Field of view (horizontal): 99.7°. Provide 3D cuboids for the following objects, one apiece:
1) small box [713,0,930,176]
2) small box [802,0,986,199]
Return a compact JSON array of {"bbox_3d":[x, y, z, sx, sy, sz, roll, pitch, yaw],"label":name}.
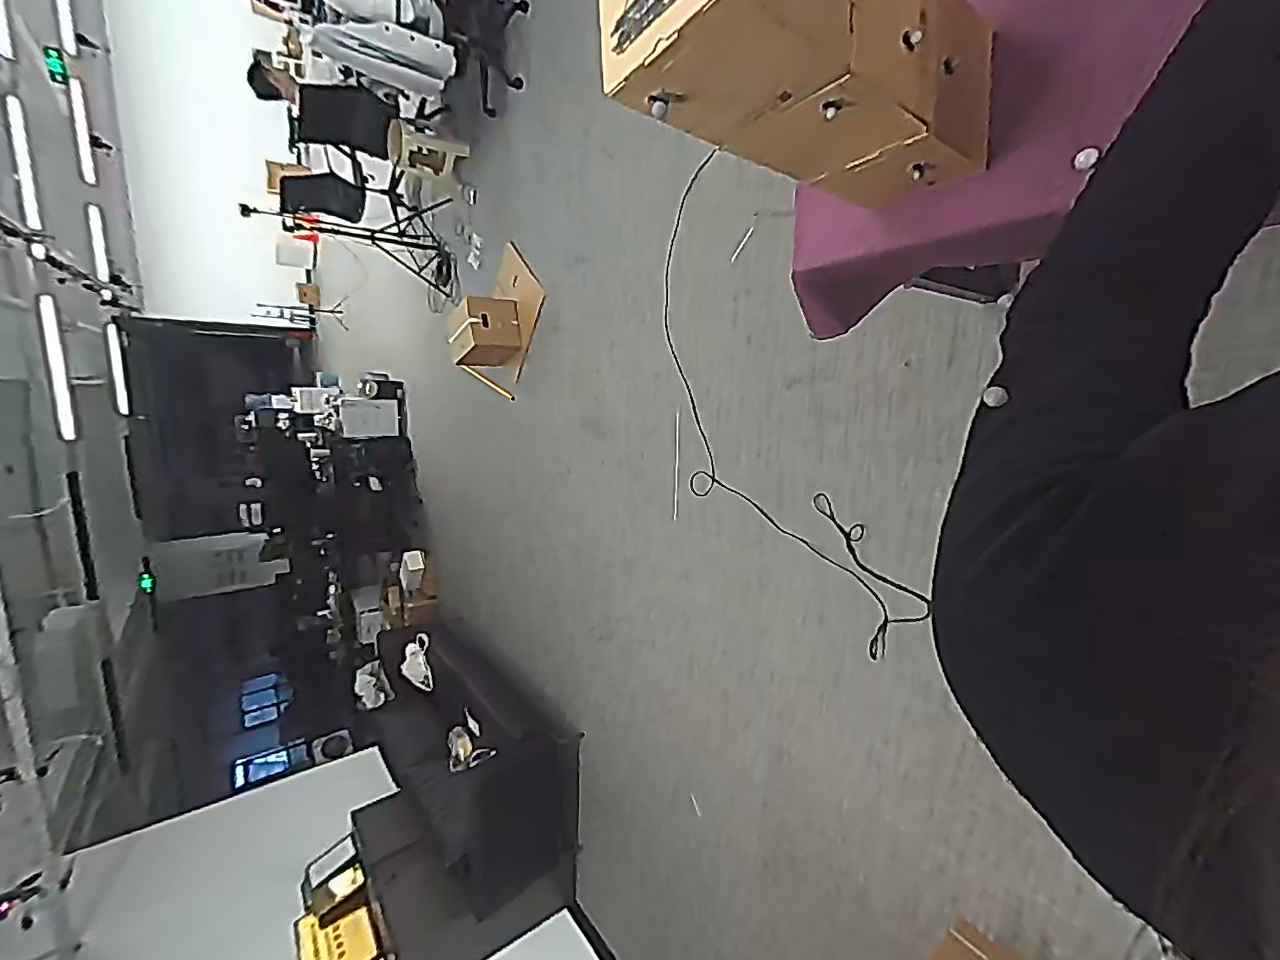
[{"bbox_3d":[0.204,-0.478,0.618,0.179,0.176,0.168,4,99,50],"label":"small box"},{"bbox_3d":[0.334,-0.492,0.714,0.168,0.176,0.179,8,101,51],"label":"small box"}]
